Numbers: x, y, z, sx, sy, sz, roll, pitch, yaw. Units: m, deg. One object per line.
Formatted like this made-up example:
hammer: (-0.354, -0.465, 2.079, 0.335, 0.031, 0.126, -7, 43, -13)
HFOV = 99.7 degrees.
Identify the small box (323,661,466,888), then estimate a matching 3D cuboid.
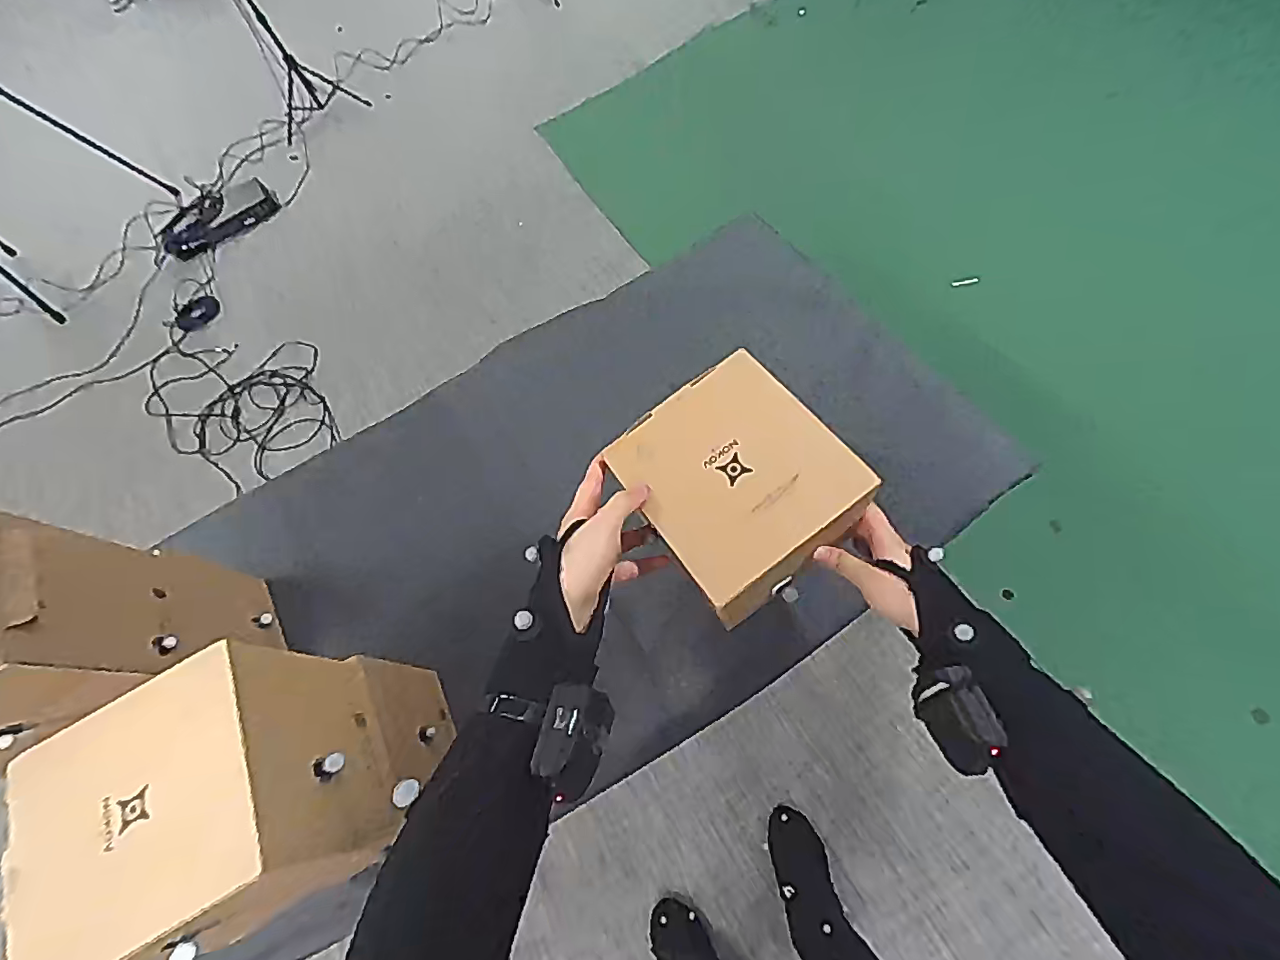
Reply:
small box: (-0.311, 0.319, 0.585, 0.179, 0.176, 0.168, -30, 63, -3)

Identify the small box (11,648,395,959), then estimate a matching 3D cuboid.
small box: (-0.326, 0.258, 0.434, 0.179, 0.176, 0.168, -31, 64, -3)

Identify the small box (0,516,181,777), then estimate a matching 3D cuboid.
small box: (-0.600, 0.168, 0.529, 0.179, 0.176, 0.168, -35, 65, -5)

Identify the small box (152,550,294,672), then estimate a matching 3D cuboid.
small box: (-0.582, 0.223, 0.684, 0.168, 0.176, 0.179, -35, 65, -6)
